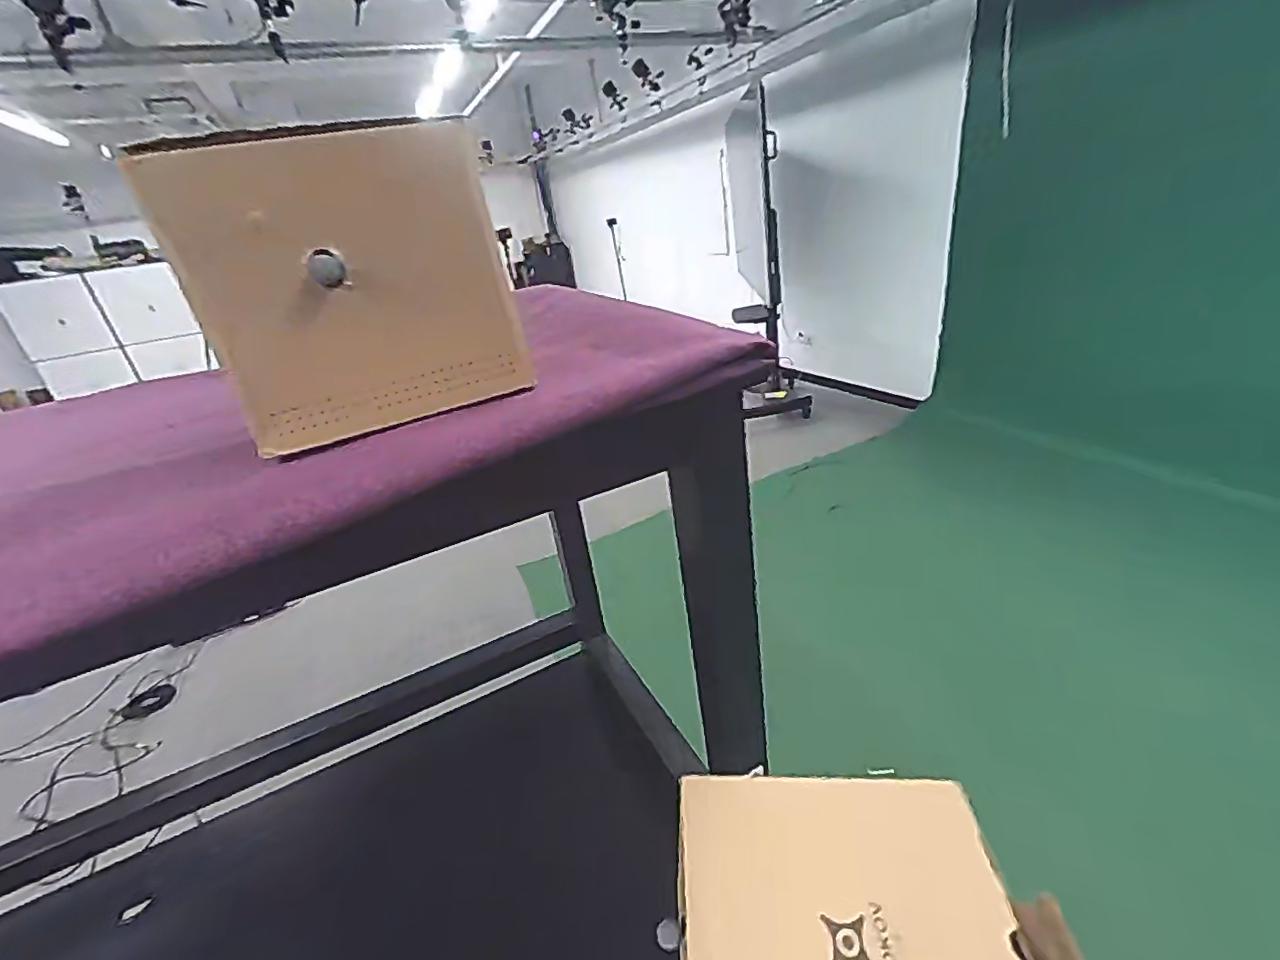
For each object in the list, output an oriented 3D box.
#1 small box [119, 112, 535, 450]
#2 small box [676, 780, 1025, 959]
[{"bbox_3d":[-0.196,-0.136,0.391,0.179,0.176,0.168,-21,26,-19],"label":"small box"},{"bbox_3d":[0.110,0.307,0.323,0.179,0.176,0.168,0,34,2],"label":"small box"}]
